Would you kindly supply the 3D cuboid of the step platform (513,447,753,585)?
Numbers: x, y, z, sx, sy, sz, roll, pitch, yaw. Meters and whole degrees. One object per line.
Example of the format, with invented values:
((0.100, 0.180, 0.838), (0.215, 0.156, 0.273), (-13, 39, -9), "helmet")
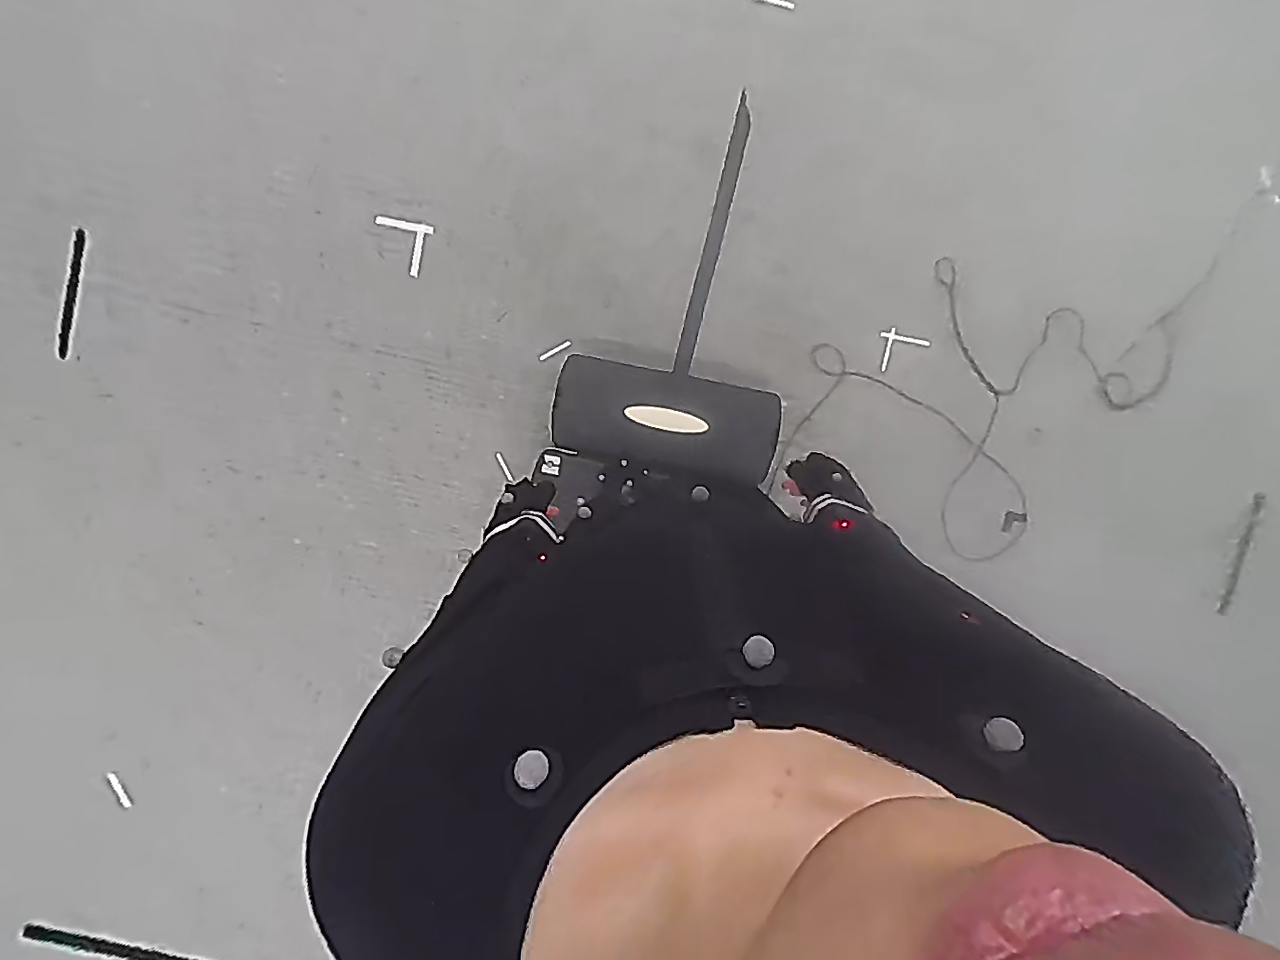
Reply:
((-0.018, 0.102, 1.584), (0.684, 0.204, 0.286), (11, 93, 0), "step platform")
